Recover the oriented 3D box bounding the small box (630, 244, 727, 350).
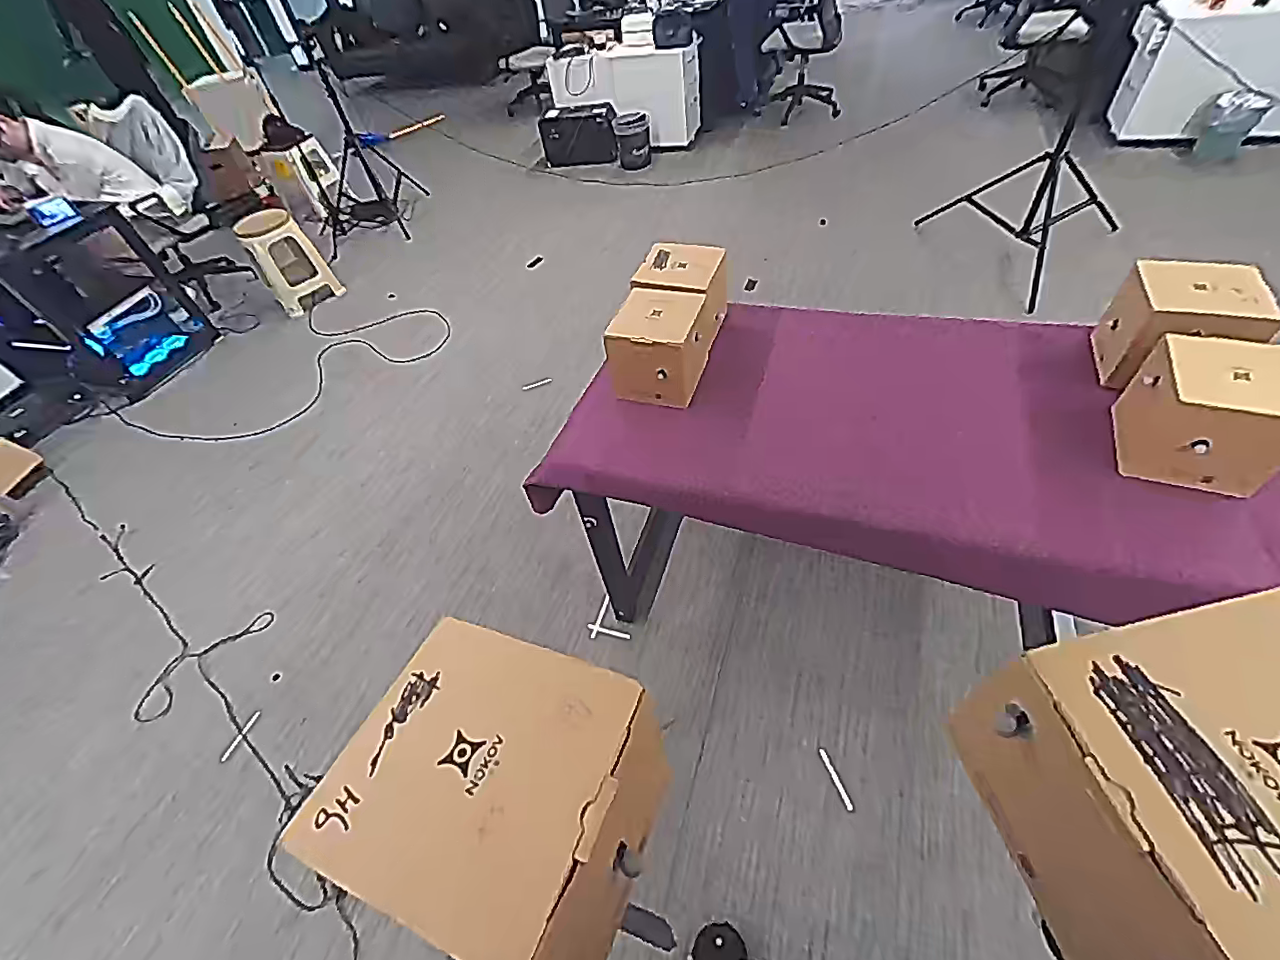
[{"bbox_3d":[0.095,-0.422,1.251,0.179,0.176,0.168,13,55,18],"label":"small box"}]

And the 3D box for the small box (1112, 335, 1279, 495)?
[{"bbox_3d":[0.890,-0.101,0.856,0.168,0.176,0.179,14,53,21],"label":"small box"}]

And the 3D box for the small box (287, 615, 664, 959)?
[{"bbox_3d":[-0.091,0.232,0.395,0.179,0.176,0.168,12,47,21],"label":"small box"}]

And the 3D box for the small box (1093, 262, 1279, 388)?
[{"bbox_3d":[0.964,-0.272,0.980,0.179,0.176,0.168,12,54,18],"label":"small box"}]
